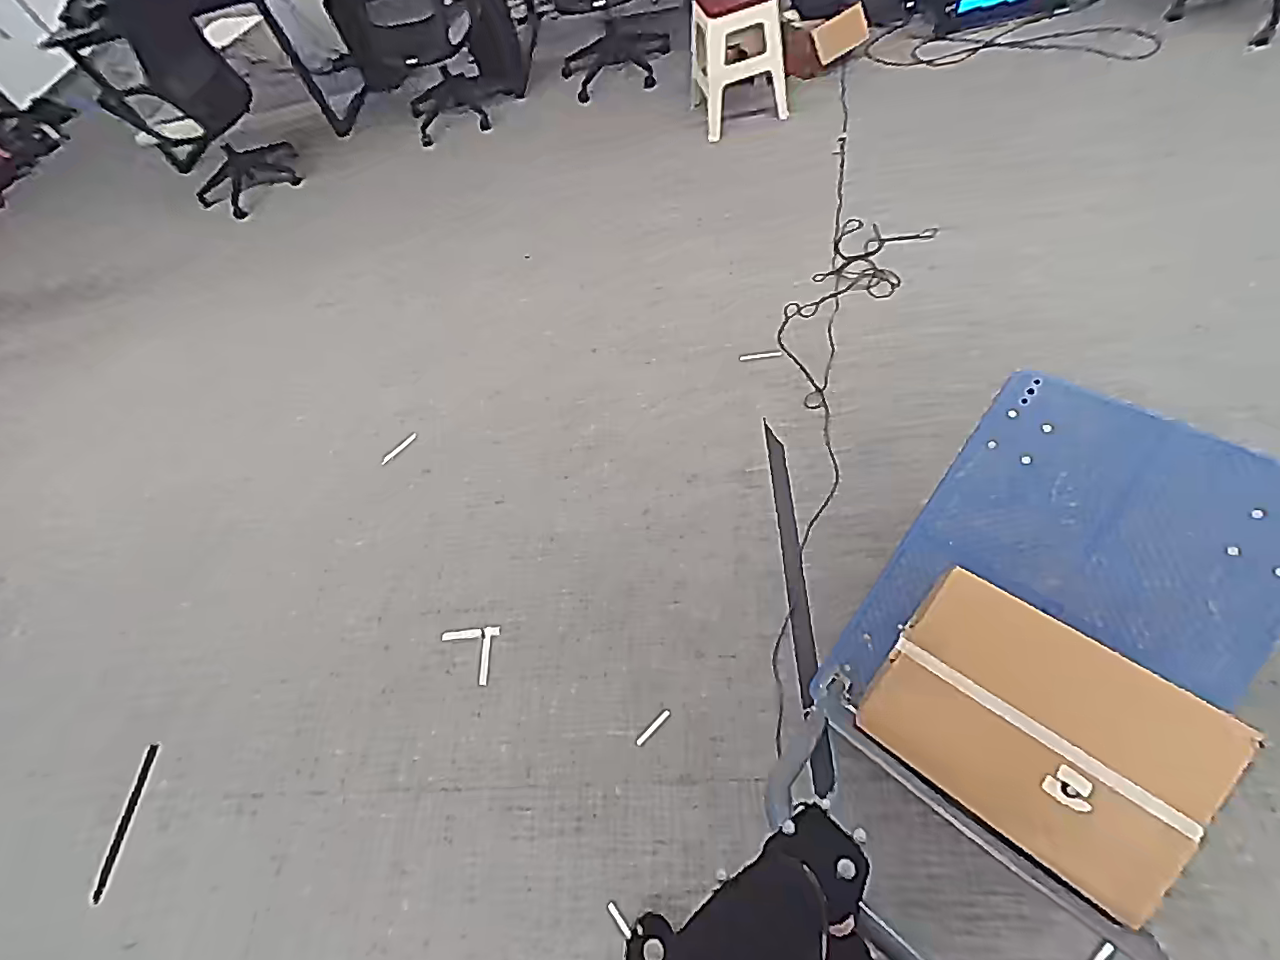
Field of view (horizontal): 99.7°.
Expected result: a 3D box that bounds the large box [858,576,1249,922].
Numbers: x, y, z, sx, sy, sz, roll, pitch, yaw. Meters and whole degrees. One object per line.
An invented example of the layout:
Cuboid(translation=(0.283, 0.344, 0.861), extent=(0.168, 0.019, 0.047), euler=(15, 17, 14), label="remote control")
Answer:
Cuboid(translation=(0.644, 0.411, 0.945), extent=(0.408, 0.320, 0.320), euler=(33, 92, 27), label="large box")
